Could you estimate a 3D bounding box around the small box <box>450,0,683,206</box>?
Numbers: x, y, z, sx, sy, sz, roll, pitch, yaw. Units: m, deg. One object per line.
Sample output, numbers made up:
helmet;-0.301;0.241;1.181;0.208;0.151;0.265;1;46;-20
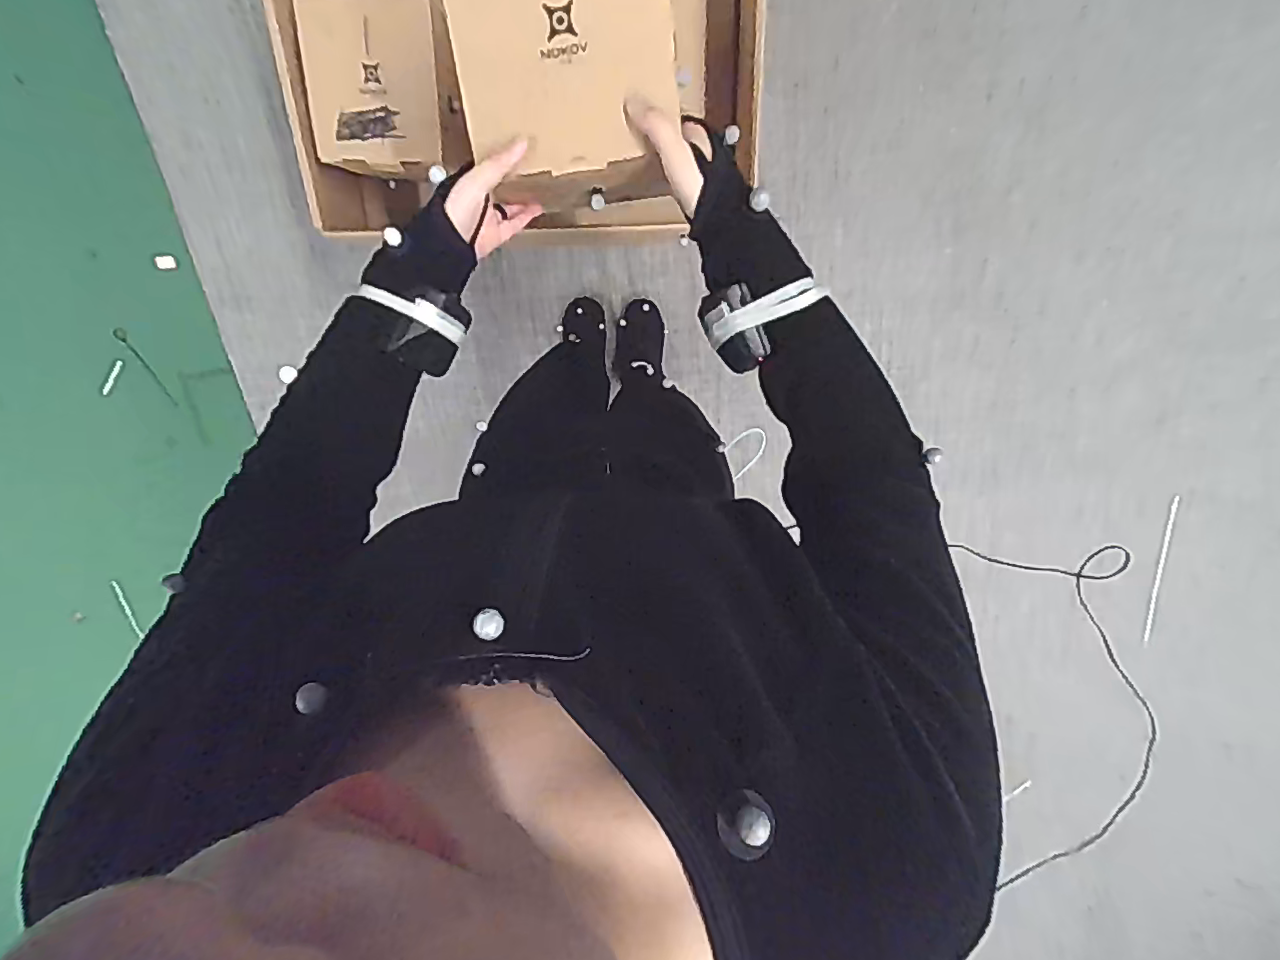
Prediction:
small box;-0.049;-0.351;0.477;0.168;0.176;0.179;-5;109;6
